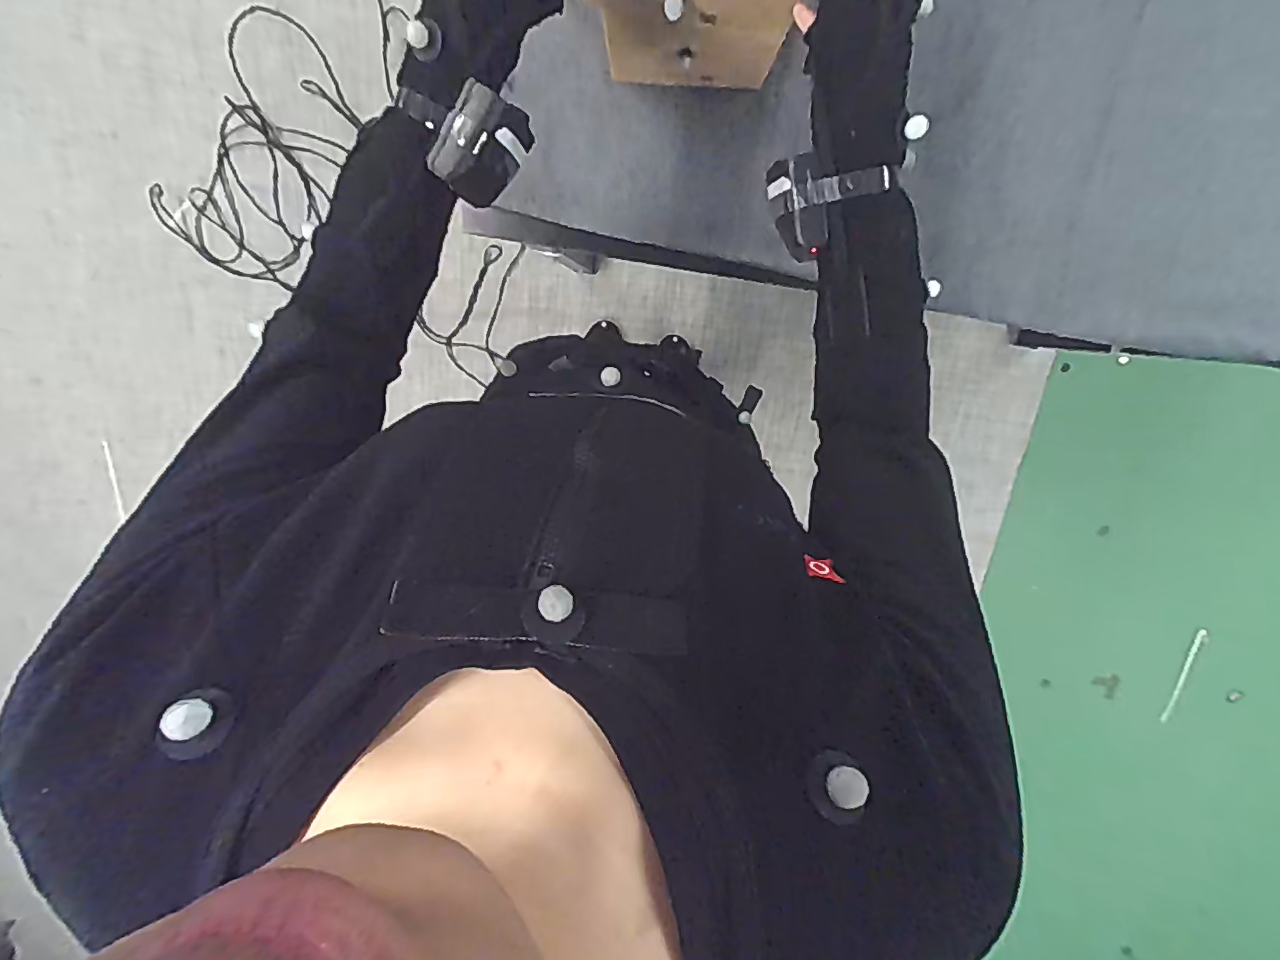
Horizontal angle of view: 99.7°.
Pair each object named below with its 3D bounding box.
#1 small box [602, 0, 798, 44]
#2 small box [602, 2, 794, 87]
[{"bbox_3d":[0.051,-0.434,0.347,0.168,0.176,0.179,11,108,-2],"label":"small box"},{"bbox_3d":[0.056,-0.496,0.500,0.168,0.176,0.179,3,106,0],"label":"small box"}]
